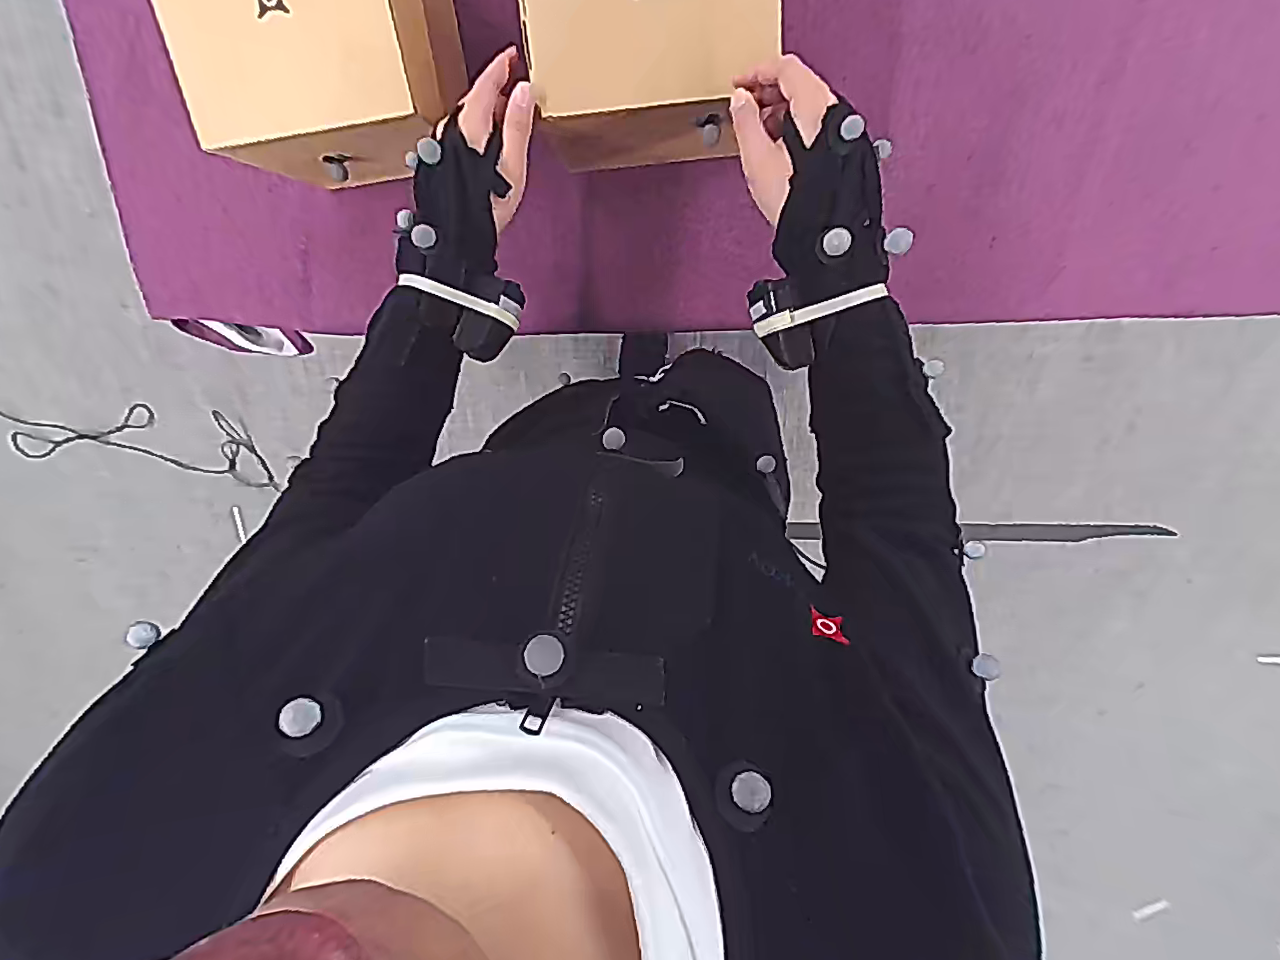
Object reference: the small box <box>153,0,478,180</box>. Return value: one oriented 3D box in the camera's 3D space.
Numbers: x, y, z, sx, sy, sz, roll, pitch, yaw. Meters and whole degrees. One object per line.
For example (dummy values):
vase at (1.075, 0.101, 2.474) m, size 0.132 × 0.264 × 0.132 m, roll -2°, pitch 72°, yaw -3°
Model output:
small box at (-0.248, -0.361, 0.440) m, size 0.168 × 0.176 × 0.179 m, roll -7°, pitch 108°, yaw 4°

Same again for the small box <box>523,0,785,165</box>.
small box at (0.008, -0.365, 0.428) m, size 0.179 × 0.176 × 0.168 m, roll -4°, pitch 108°, yaw 3°
